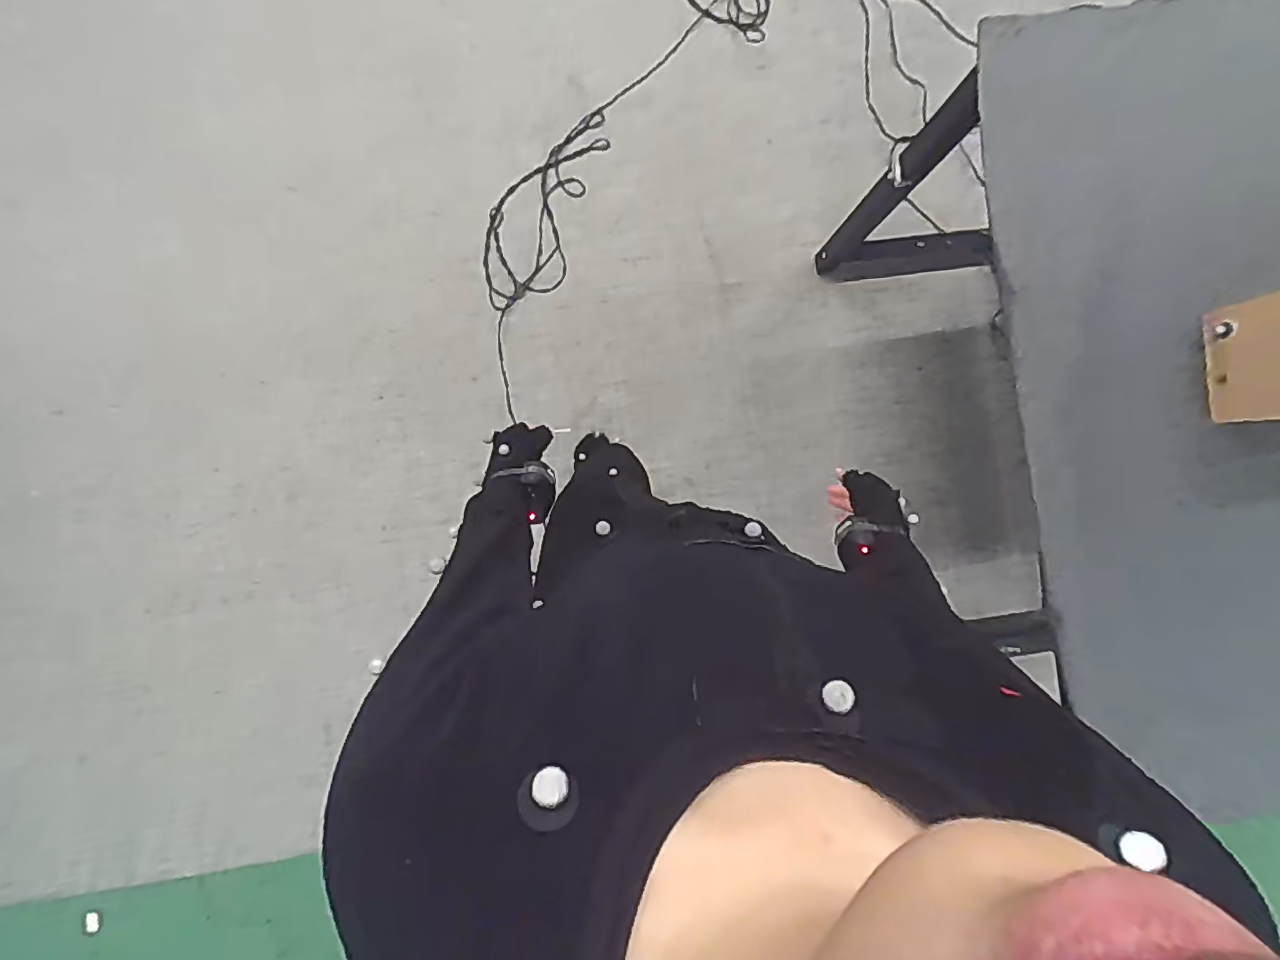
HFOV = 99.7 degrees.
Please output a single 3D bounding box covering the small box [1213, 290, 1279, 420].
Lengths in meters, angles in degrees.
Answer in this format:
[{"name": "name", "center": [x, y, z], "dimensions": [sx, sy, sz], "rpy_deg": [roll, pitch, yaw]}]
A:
[{"name": "small box", "center": [0.934, -0.176, 0.727], "dimensions": [0.179, 0.176, 0.168], "rpy_deg": [-4, 89, -4]}]
